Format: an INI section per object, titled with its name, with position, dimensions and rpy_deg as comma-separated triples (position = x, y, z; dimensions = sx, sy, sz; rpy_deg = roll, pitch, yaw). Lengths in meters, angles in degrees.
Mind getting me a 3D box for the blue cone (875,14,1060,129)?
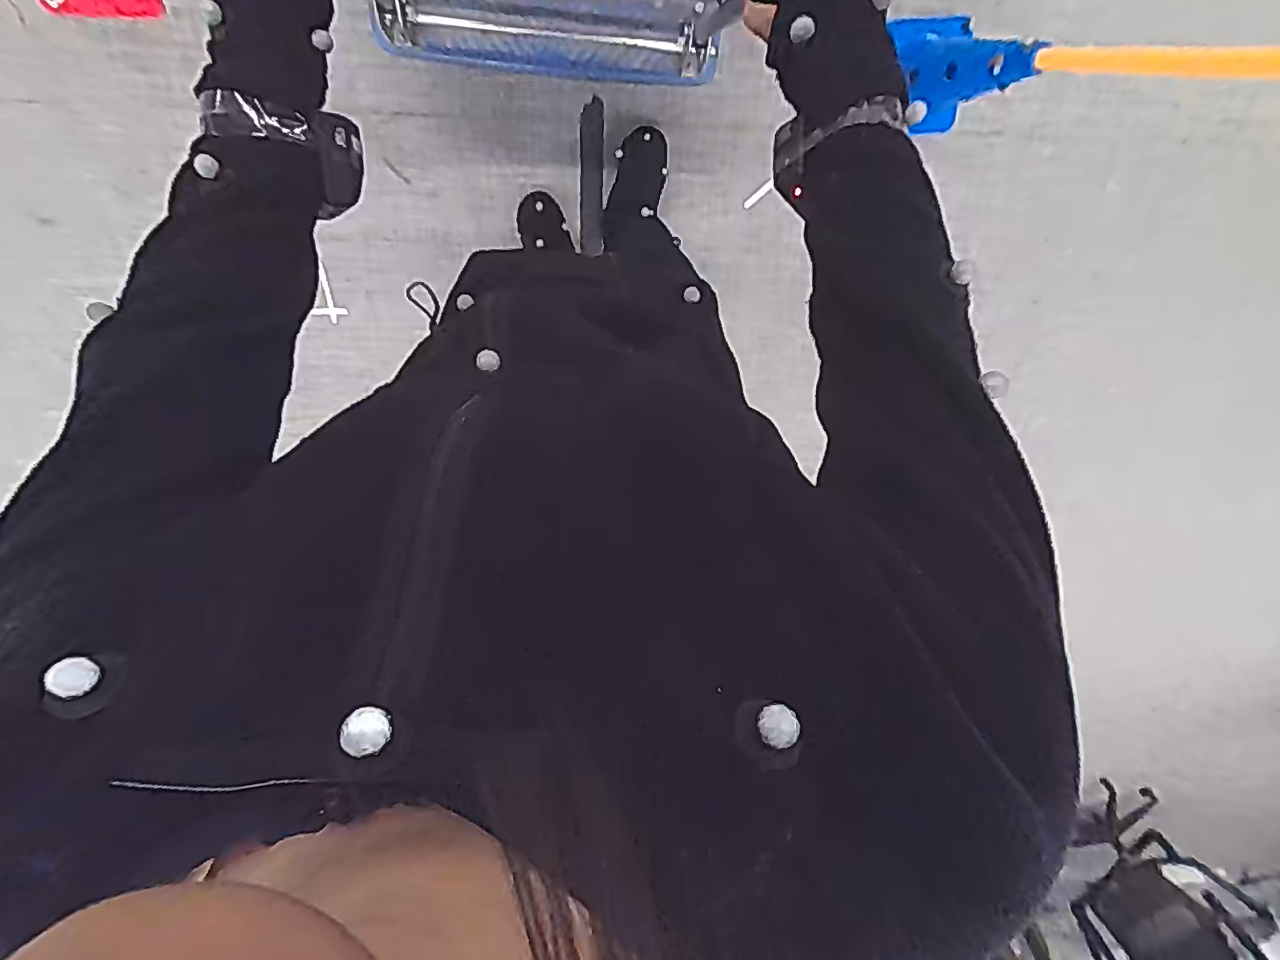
[blue cone]
position = 0.608, -0.765, 0.992
dimensions = 0.193, 0.380, 0.192
rpy_deg = -5, 122, -4
